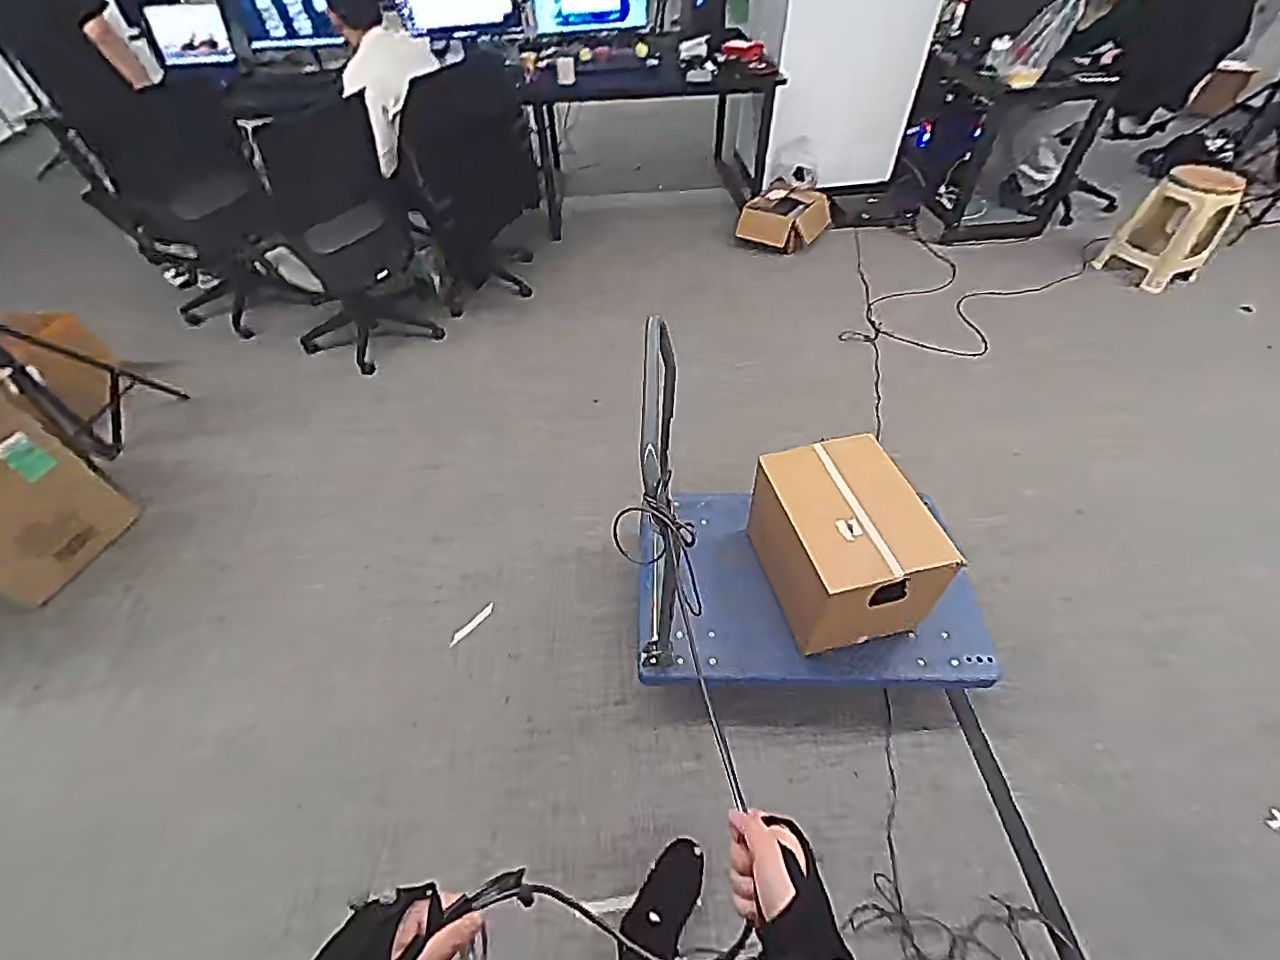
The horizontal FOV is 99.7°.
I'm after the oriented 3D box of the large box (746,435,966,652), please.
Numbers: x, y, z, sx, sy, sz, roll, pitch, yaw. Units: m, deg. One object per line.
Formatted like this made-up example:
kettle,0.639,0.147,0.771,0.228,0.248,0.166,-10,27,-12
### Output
large box,0.492,0.154,1.349,0.320,0.320,0.408,-12,51,-6
